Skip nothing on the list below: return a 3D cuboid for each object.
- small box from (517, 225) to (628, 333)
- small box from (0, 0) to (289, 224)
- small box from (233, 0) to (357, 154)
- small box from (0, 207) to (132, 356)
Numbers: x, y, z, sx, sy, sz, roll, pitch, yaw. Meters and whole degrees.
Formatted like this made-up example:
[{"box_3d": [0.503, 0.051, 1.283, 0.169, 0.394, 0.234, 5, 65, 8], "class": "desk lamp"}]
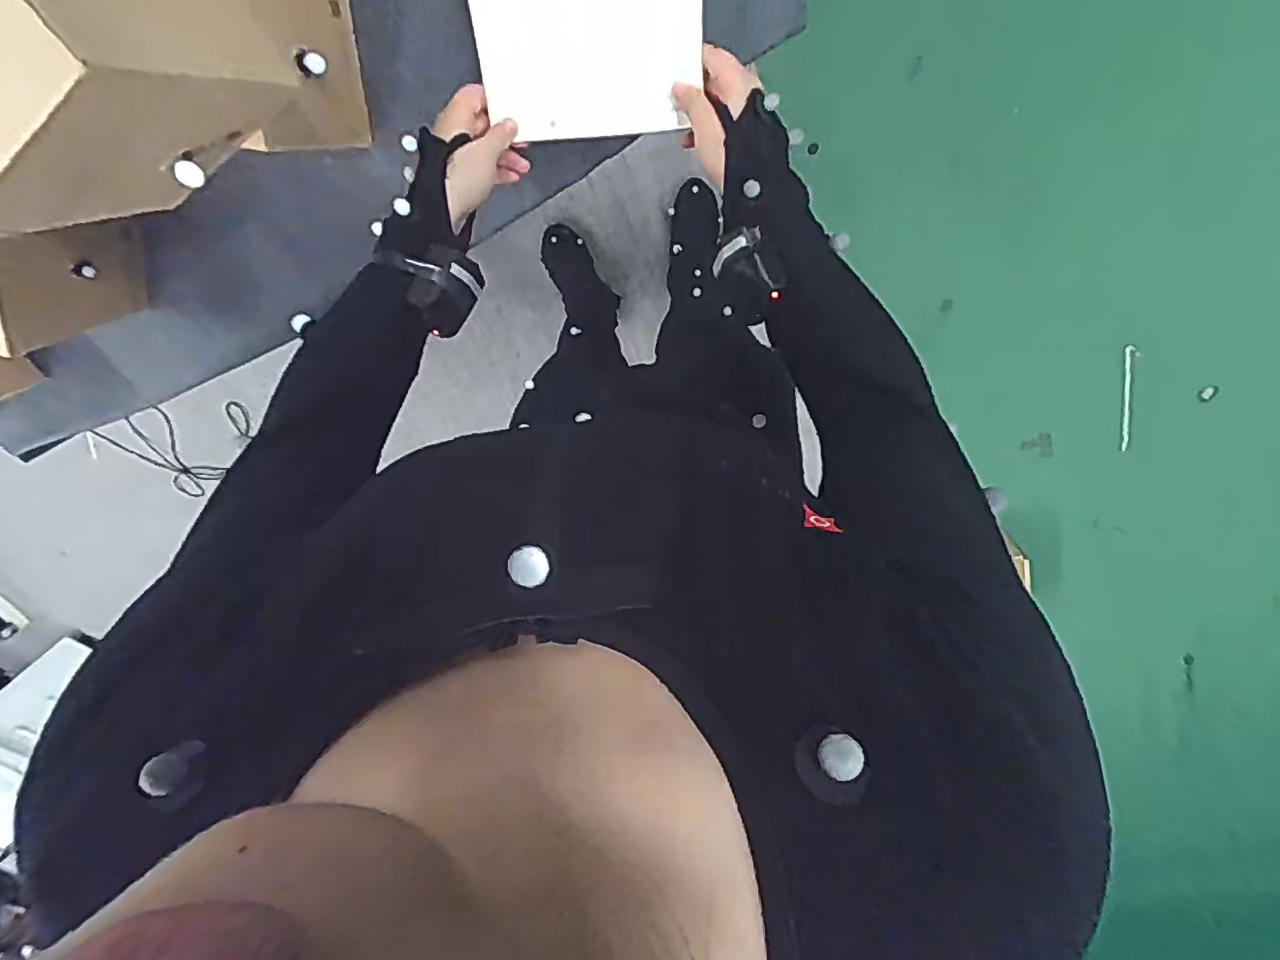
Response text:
[{"box_3d": [-0.149, -0.454, 1.225, 0.176, 0.168, 0.179, 11, 104, -38], "class": "small box"}, {"box_3d": [-0.362, -0.269, 0.308, 0.168, 0.176, 0.179, -22, 119, 20], "class": "small box"}, {"box_3d": [-0.357, -0.373, 0.436, 0.179, 0.176, 0.168, 7, 124, 2], "class": "small box"}, {"box_3d": [-0.663, -0.258, 0.542, 0.179, 0.176, 0.168, 23, 123, -10], "class": "small box"}]
